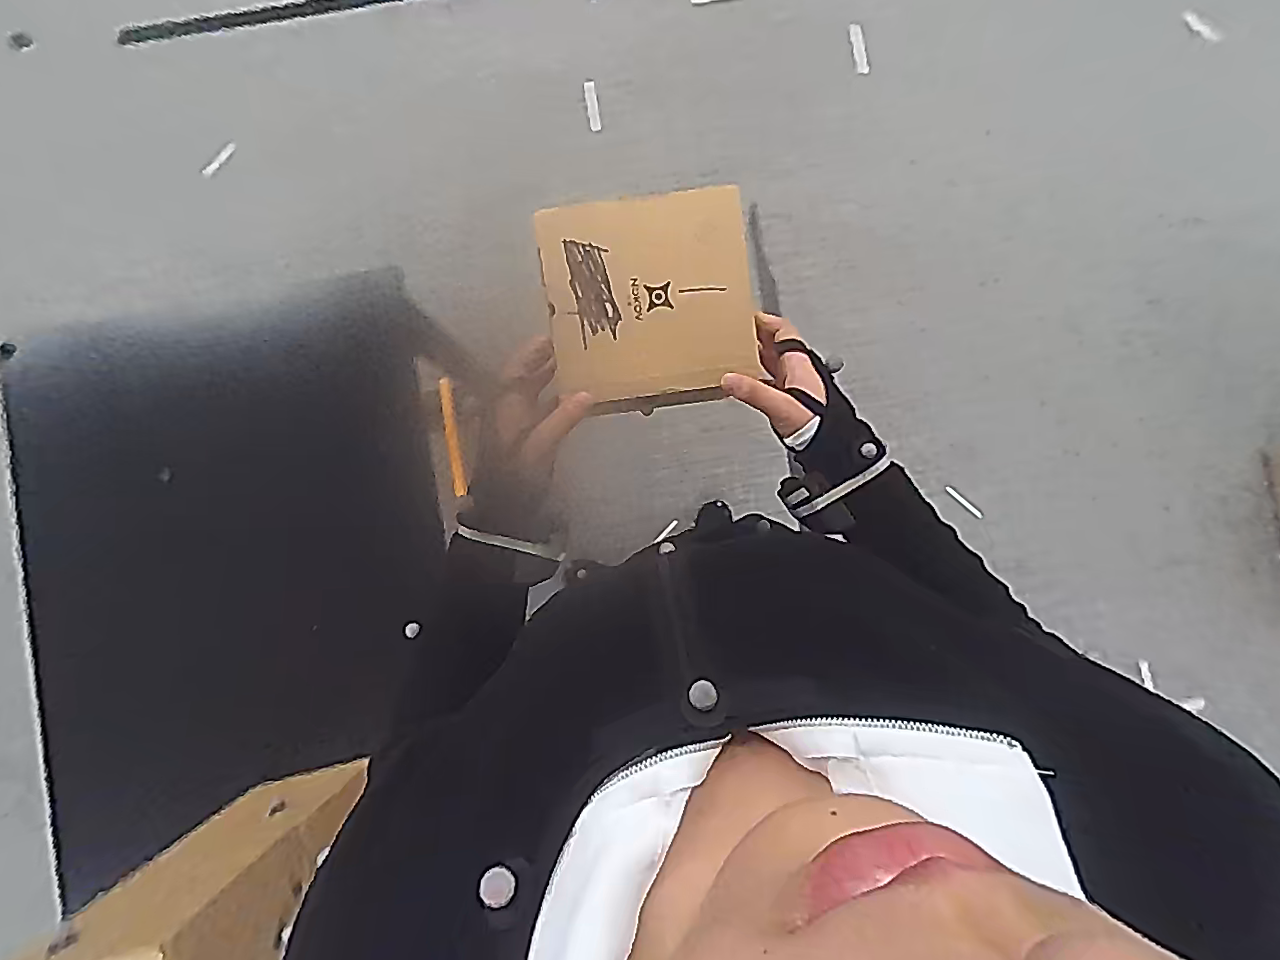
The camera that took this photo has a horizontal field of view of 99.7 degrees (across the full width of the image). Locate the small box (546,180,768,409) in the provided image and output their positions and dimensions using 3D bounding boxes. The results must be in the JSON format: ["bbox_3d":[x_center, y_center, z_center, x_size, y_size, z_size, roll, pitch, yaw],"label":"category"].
[{"bbox_3d":[0.015,-0.166,0.537,0.179,0.176,0.168,-7,93,0],"label":"small box"}]

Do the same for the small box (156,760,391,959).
[{"bbox_3d":[-0.438,0.484,0.680,0.179,0.176,0.168,-15,87,-1],"label":"small box"}]

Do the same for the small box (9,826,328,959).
[{"bbox_3d":[-0.443,0.474,0.514,0.179,0.176,0.168,-16,87,-1],"label":"small box"}]
